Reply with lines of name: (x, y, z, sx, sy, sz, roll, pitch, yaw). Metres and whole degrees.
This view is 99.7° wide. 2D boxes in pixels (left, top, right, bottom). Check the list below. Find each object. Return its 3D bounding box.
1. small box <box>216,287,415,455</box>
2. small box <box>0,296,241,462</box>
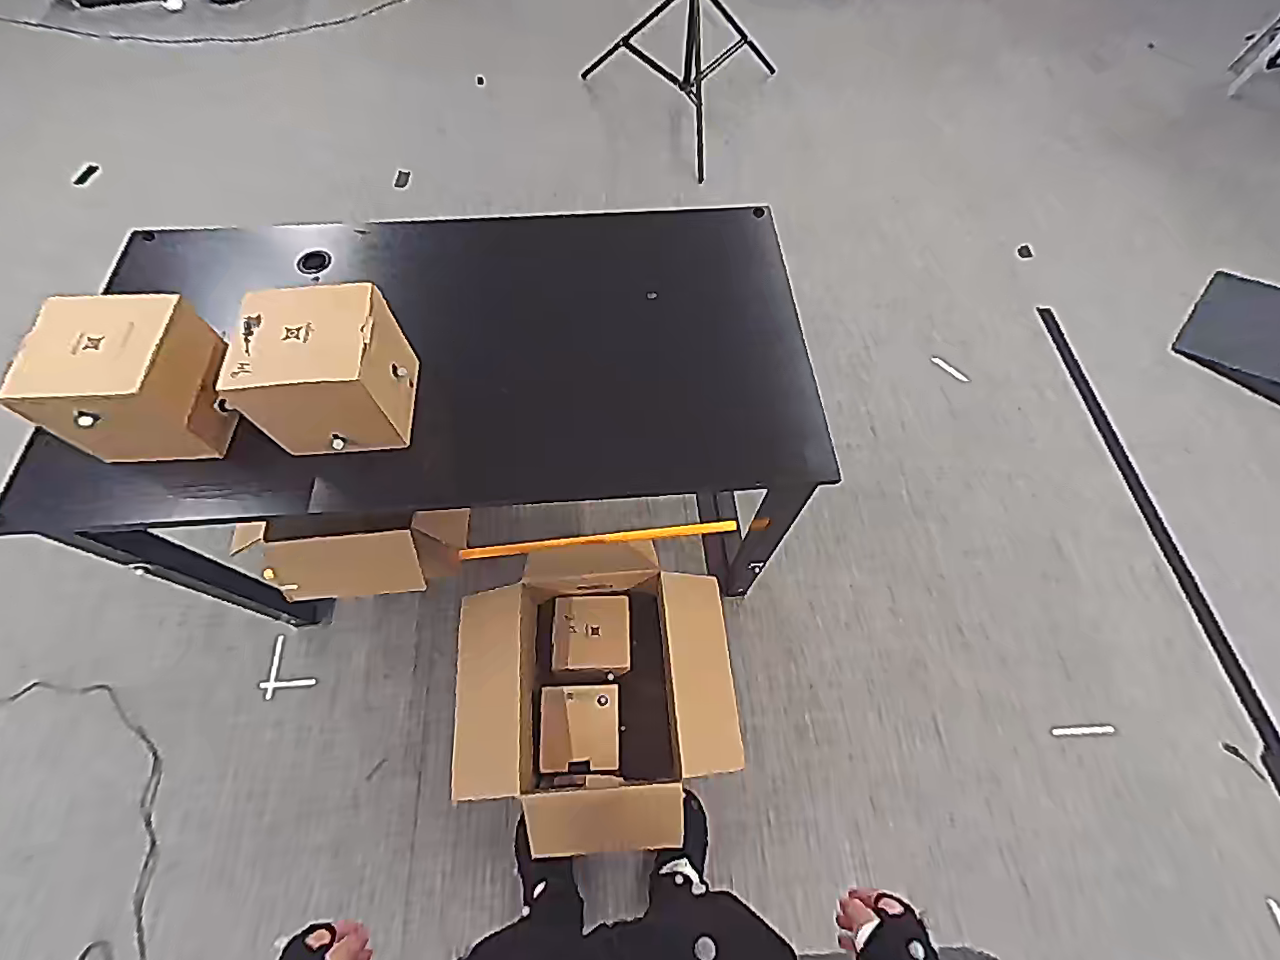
small box: (-0.436, -0.149, 0.765, 0.179, 0.176, 0.168, -4, 63, -3)
small box: (-0.699, -0.134, 0.755, 0.179, 0.176, 0.168, -2, 64, -2)
